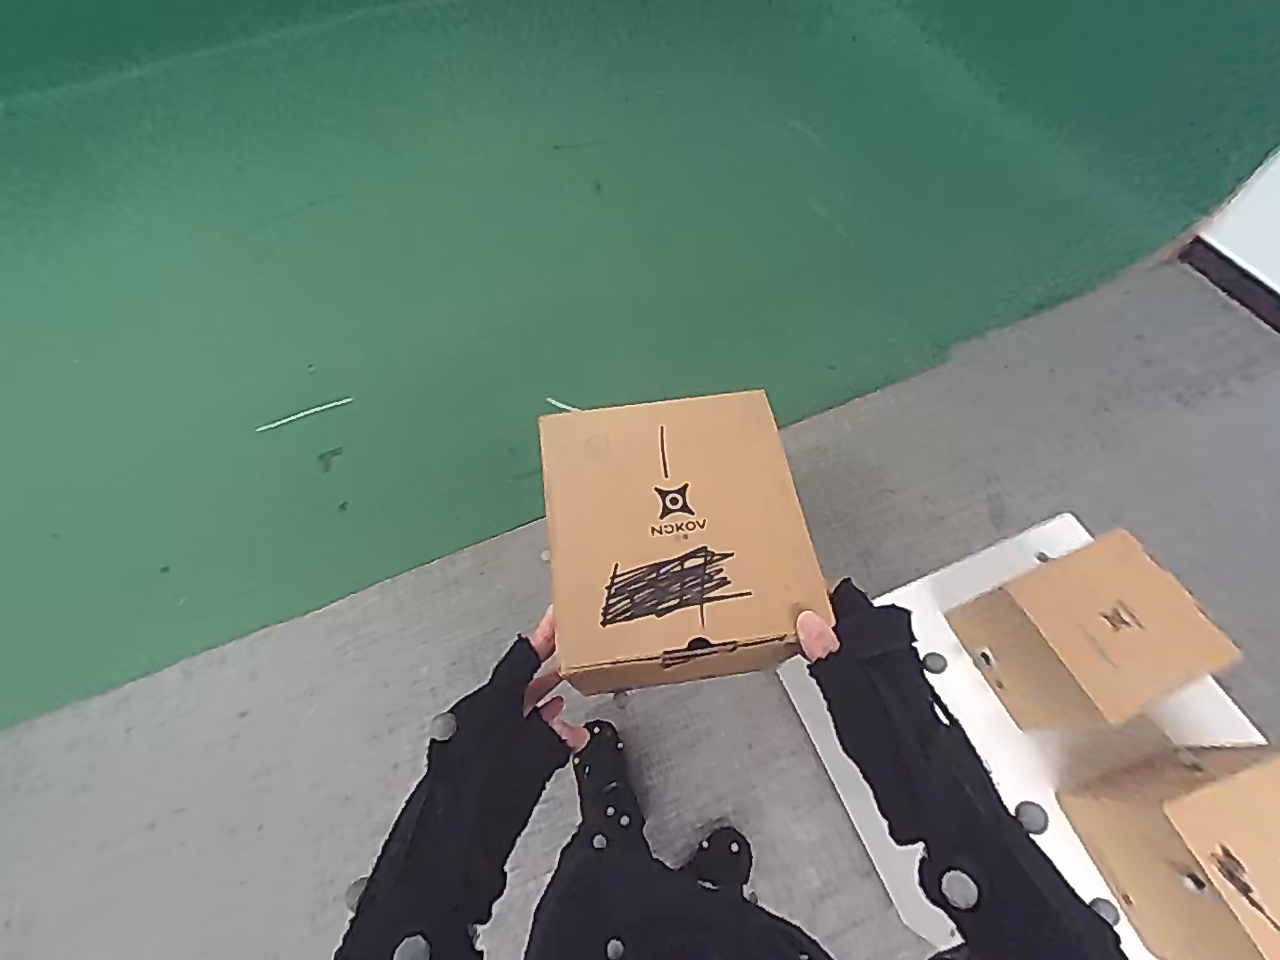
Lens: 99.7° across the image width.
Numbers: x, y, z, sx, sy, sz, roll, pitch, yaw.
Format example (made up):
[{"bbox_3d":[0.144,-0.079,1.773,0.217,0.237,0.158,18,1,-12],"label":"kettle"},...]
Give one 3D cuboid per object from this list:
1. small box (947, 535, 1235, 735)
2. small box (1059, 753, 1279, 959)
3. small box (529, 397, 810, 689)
[{"bbox_3d":[0.529,0.197,0.668,0.179,0.176,0.168,-23,63,-6],"label":"small box"},{"bbox_3d":[0.602,0.394,0.560,0.179,0.176,0.168,-17,63,-5],"label":"small box"},{"bbox_3d":[0.012,0.061,0.427,0.168,0.176,0.179,-8,63,-4],"label":"small box"}]
